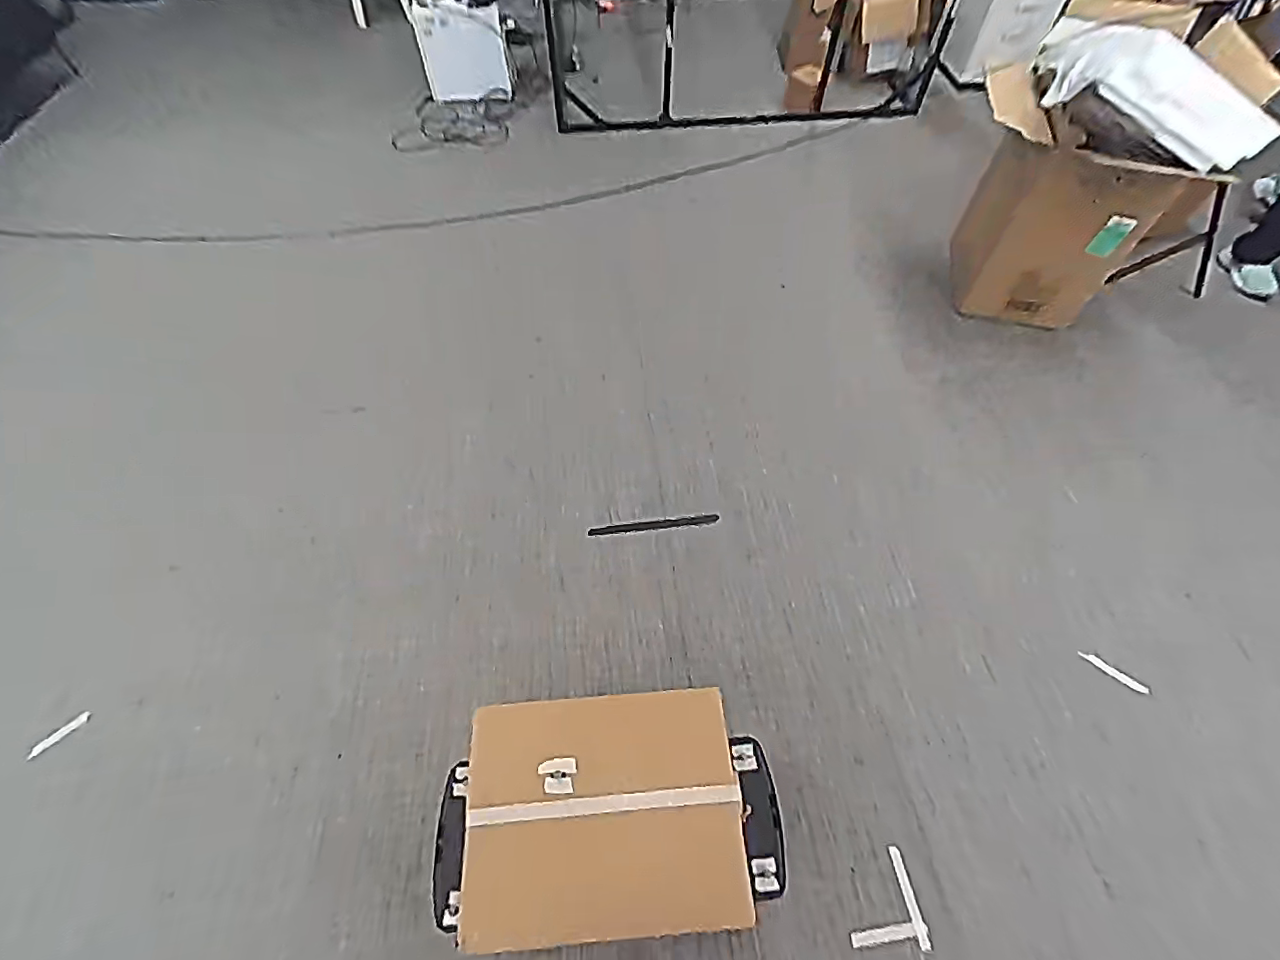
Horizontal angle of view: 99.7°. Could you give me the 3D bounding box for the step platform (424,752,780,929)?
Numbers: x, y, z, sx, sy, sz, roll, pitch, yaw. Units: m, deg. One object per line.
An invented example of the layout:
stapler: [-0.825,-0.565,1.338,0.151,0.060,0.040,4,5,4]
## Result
step platform: [-0.067,0.720,1.099,0.684,0.204,0.286,0,56,1]

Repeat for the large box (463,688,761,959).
large box: [-0.043,0.564,0.916,0.408,0.320,0.320,-4,56,-1]
